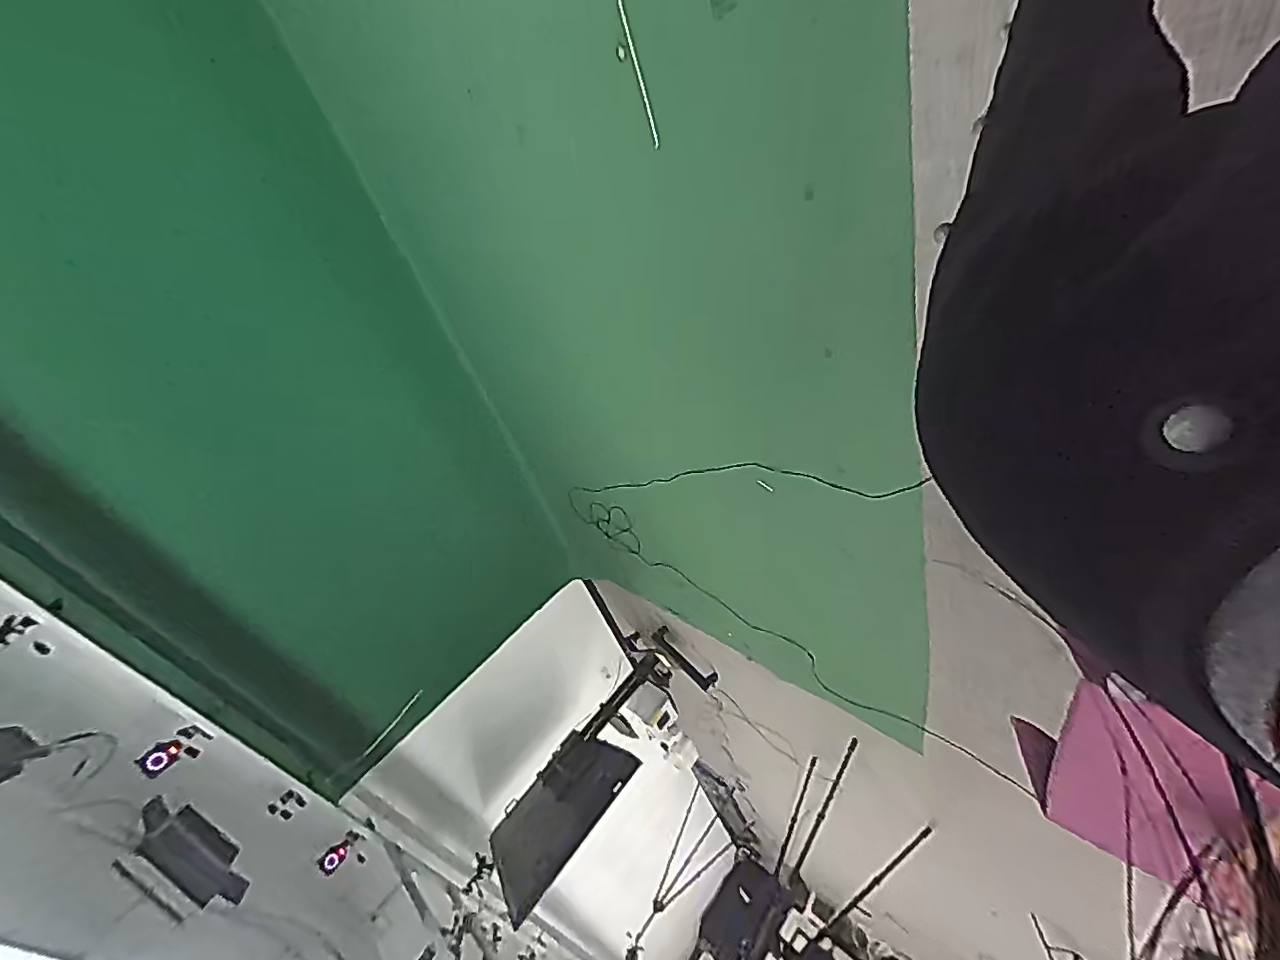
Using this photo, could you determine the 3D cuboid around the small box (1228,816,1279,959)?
[{"bbox_3d":[1.043,0.653,0.816,0.168,0.176,0.179,20,143,41],"label":"small box"}]
